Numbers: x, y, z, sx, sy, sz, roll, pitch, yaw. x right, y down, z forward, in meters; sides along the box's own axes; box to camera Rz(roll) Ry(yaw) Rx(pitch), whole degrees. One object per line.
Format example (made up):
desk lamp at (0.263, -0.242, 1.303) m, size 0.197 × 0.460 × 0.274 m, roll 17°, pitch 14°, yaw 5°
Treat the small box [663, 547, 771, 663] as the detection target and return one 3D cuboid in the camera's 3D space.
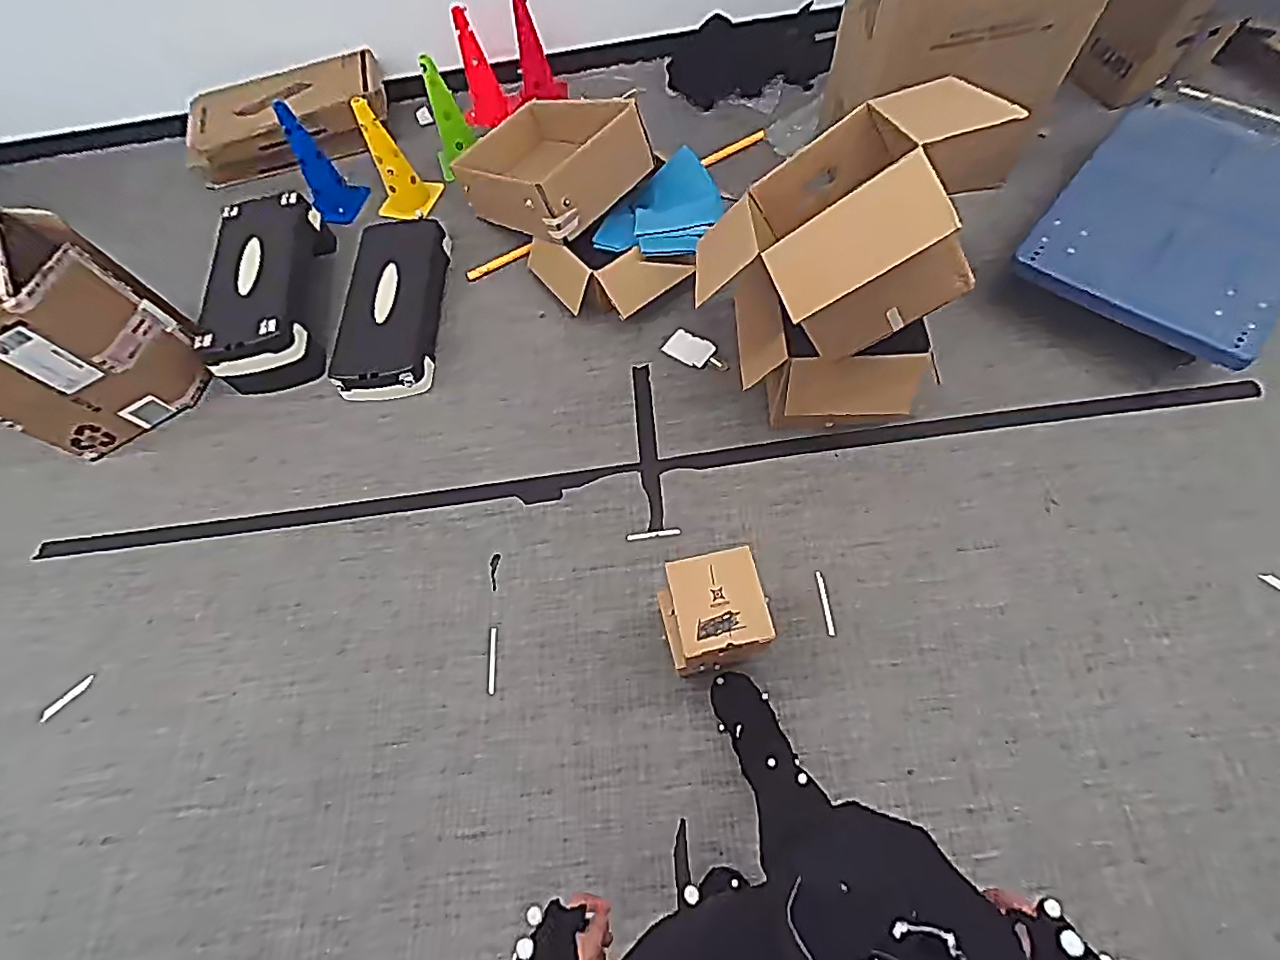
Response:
small box at (0.144, 0.251, 1.052) m, size 0.168 × 0.176 × 0.179 m, roll -12°, pitch 64°, yaw 0°
